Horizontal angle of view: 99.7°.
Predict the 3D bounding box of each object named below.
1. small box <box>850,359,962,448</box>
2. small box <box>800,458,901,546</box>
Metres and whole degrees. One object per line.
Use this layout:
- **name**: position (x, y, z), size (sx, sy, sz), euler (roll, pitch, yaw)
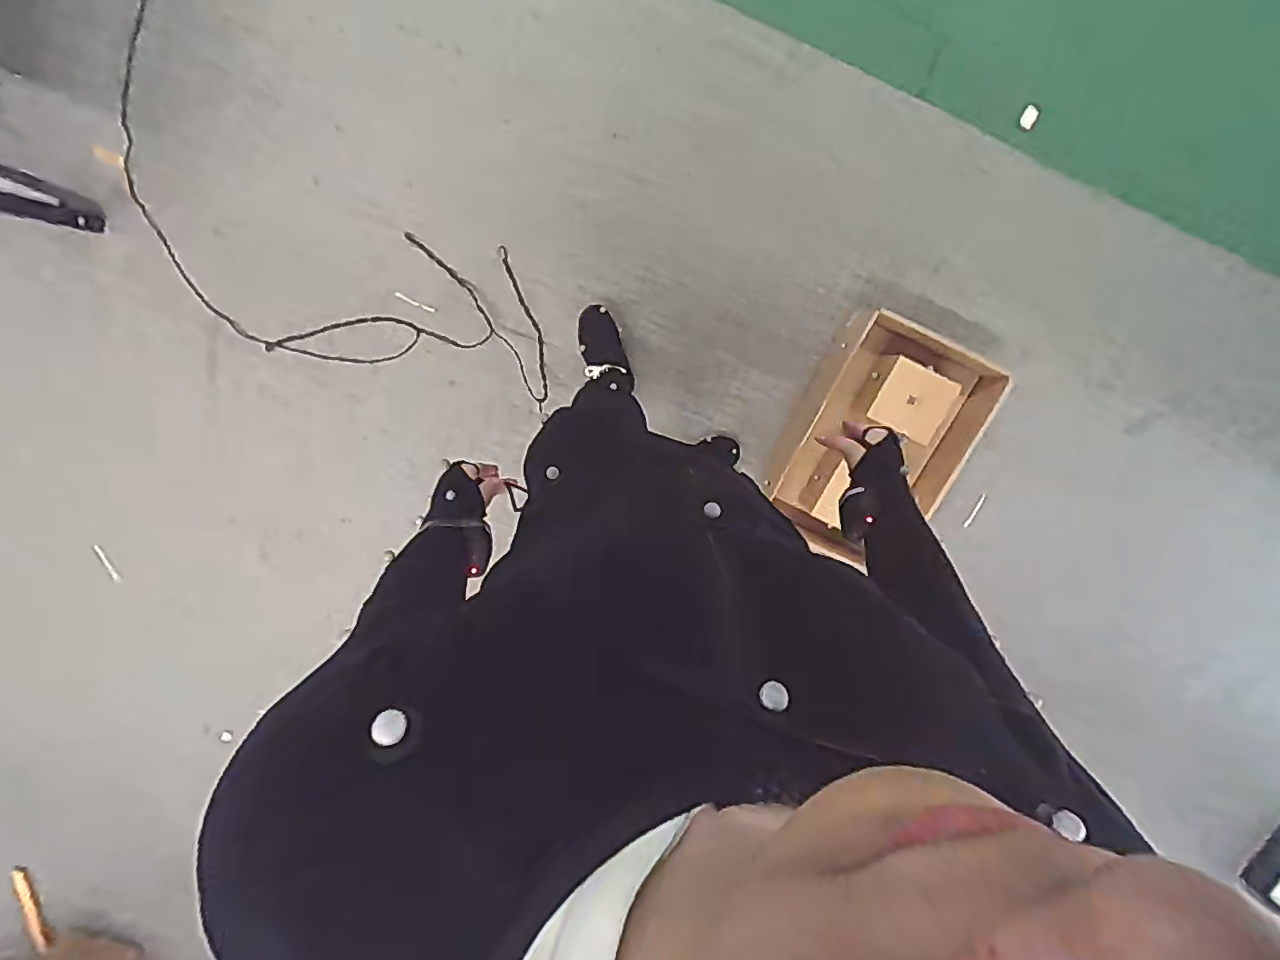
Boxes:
- **small box**: position (0.680, -0.202, 1.410), size (0.179, 0.176, 0.168), euler (26, 103, -3)
- **small box**: position (0.558, 0.052, 1.466), size (0.179, 0.176, 0.168), euler (27, 102, -2)
